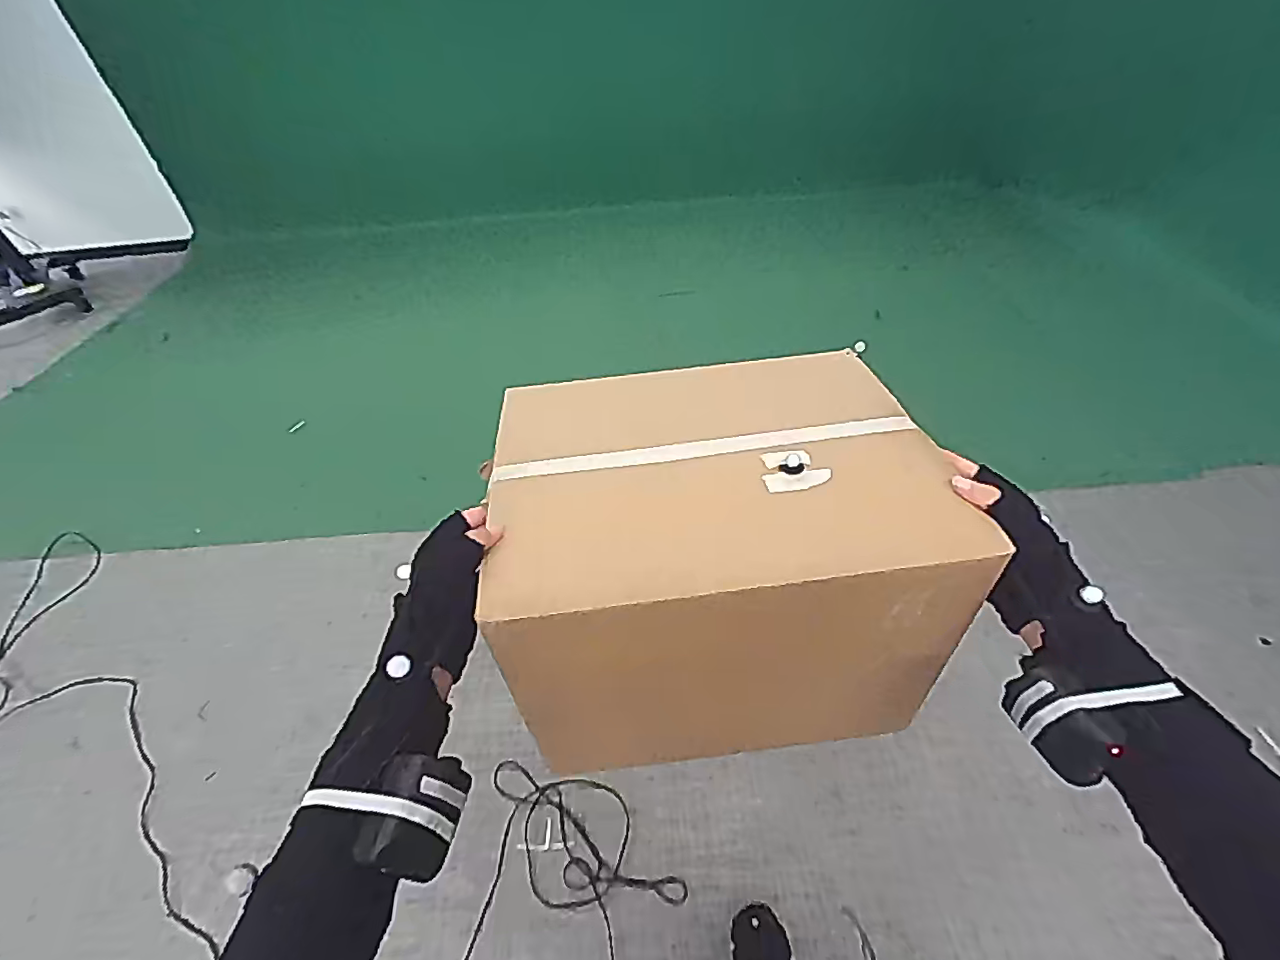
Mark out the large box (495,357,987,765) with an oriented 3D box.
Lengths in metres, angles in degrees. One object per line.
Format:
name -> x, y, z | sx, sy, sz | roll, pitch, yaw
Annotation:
large box -> 0.072, 0.087, 0.627 | 0.408, 0.320, 0.320 | -7, 43, -3
